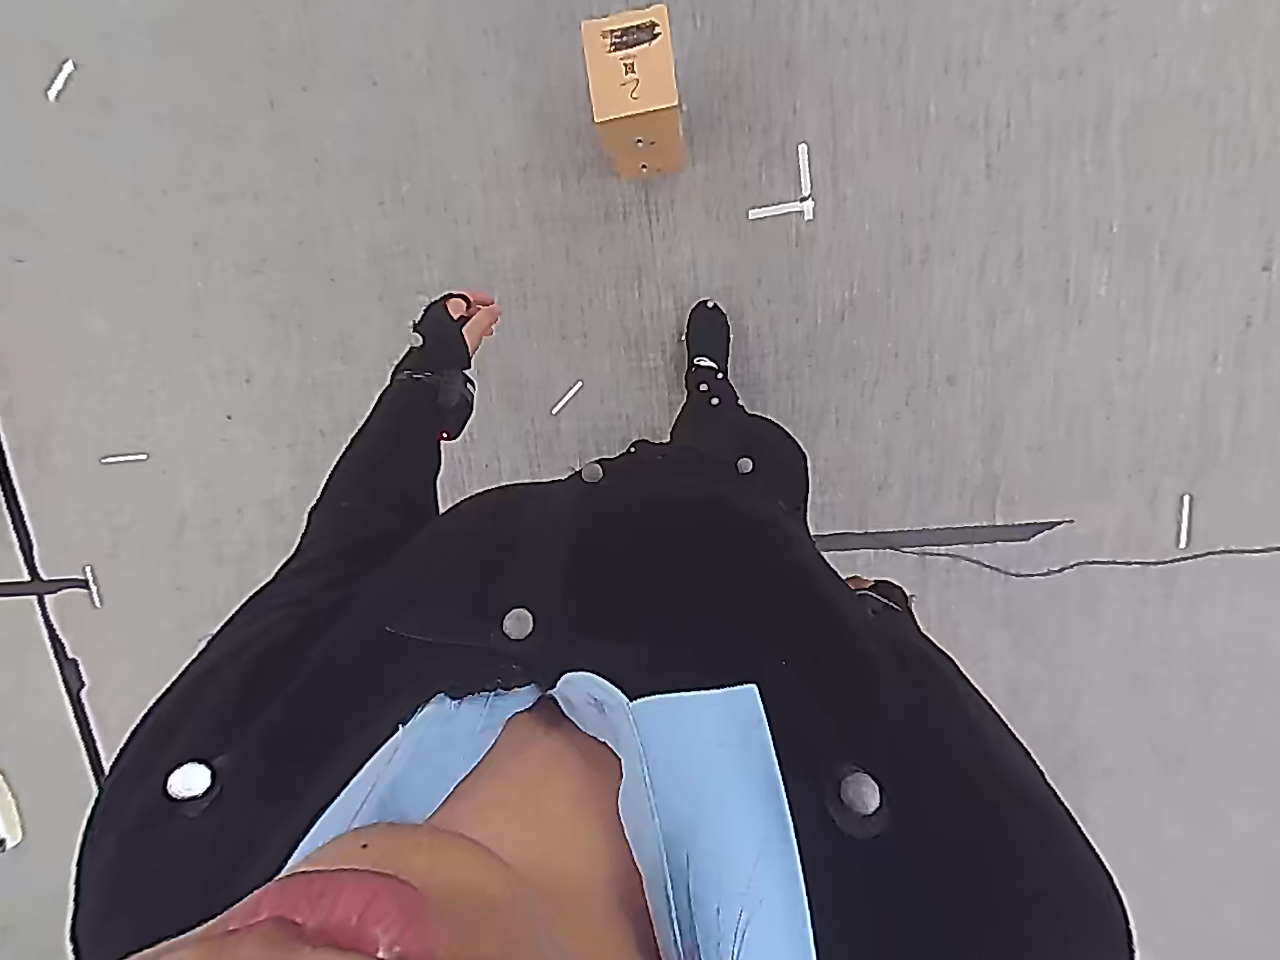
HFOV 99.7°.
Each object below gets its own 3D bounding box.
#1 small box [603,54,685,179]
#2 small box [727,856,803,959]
[{"bbox_3d":[0.013,-0.831,1.253,0.168,0.176,0.179,-7,100,6],"label":"small box"},{"bbox_3d":[0.311,1.096,1.364,0.168,0.176,0.179,-3,99,5],"label":"small box"}]
